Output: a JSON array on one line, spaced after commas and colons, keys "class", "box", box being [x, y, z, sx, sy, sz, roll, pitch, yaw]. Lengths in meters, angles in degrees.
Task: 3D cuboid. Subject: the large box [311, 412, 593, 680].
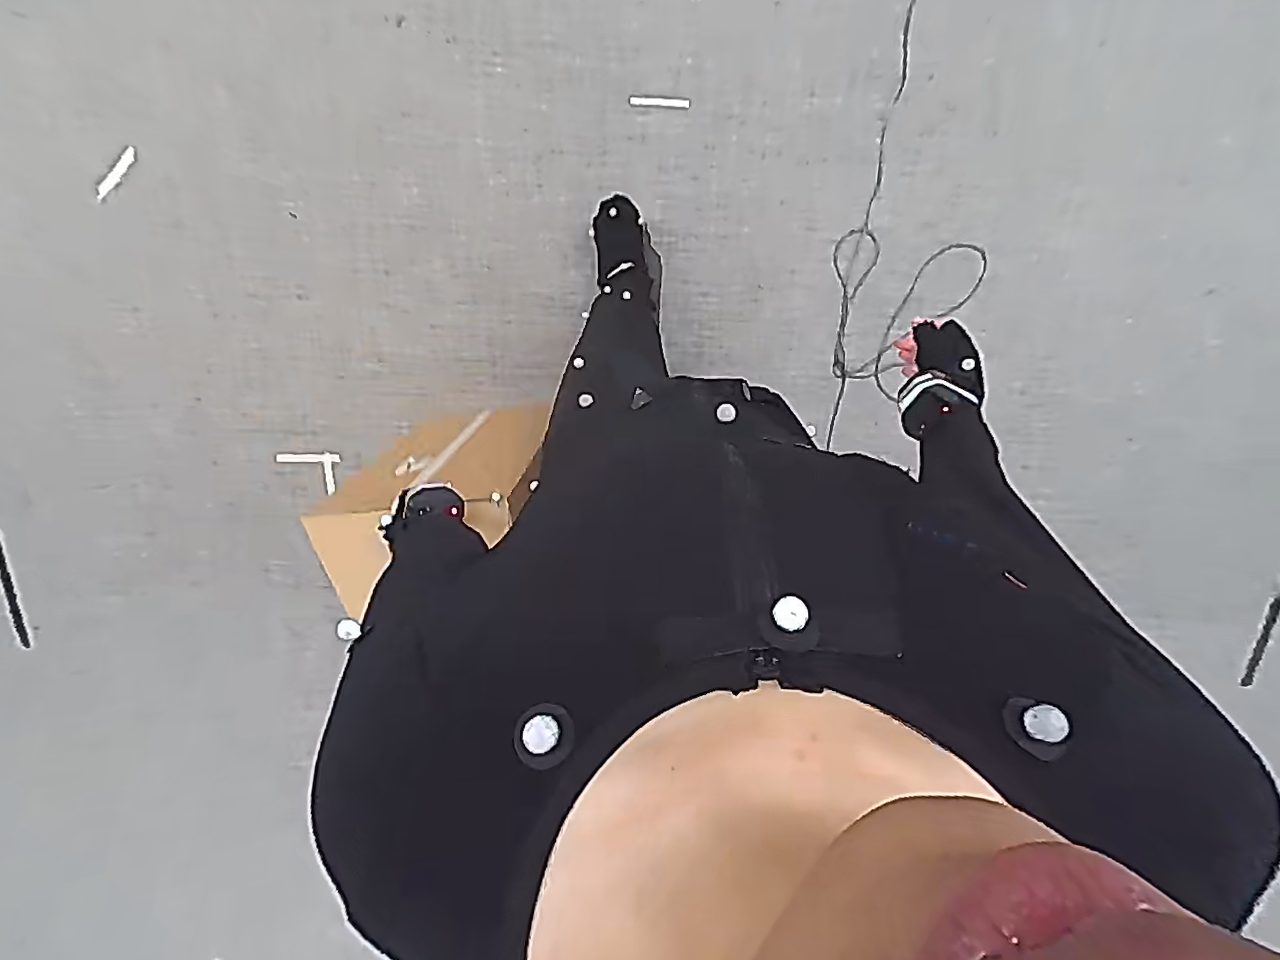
[{"class": "large box", "box": [-0.289, 0.099, 0.994, 0.320, 0.408, 0.320, -7, 115, 9]}]
